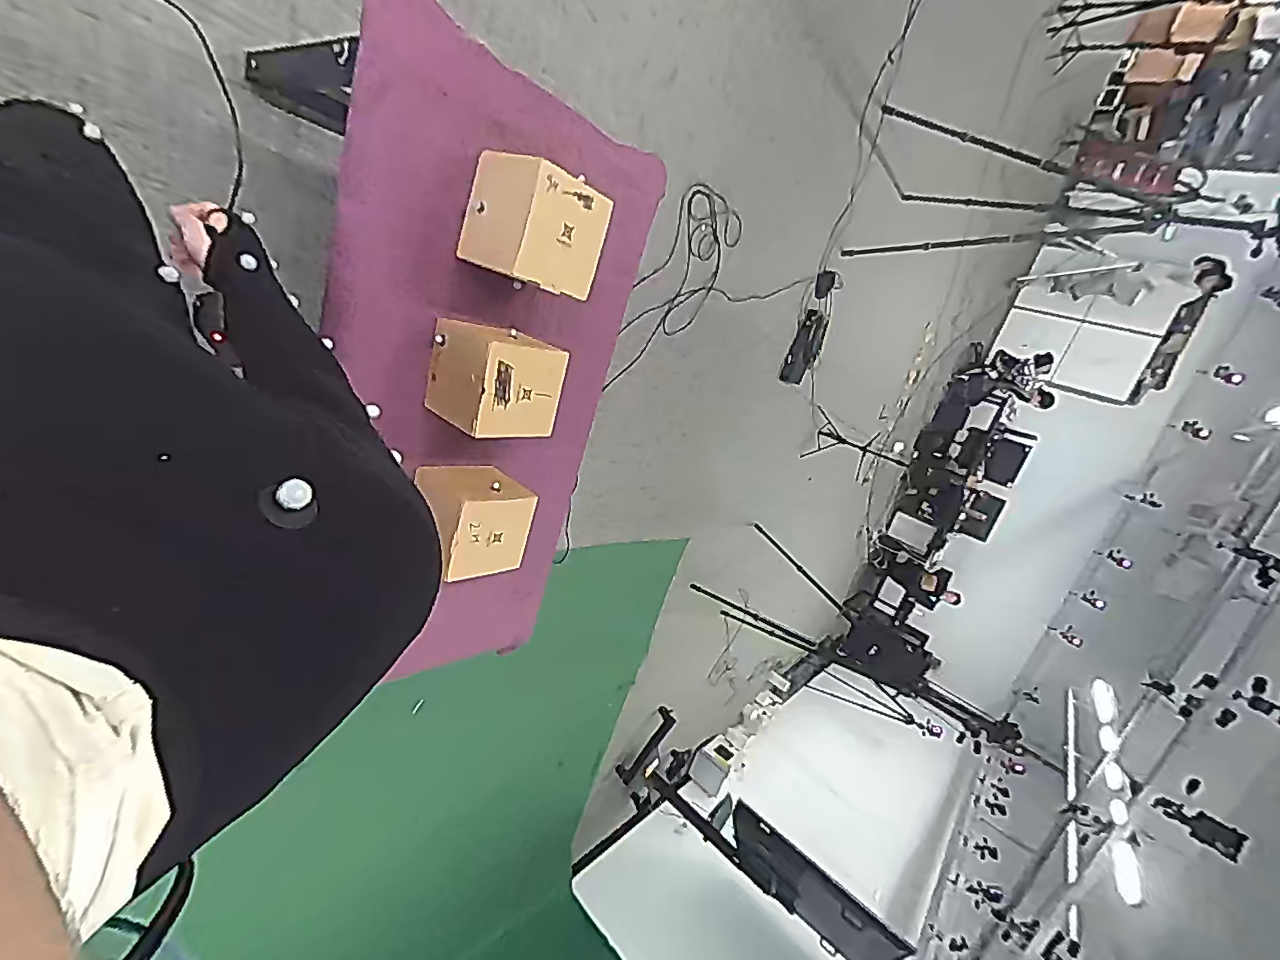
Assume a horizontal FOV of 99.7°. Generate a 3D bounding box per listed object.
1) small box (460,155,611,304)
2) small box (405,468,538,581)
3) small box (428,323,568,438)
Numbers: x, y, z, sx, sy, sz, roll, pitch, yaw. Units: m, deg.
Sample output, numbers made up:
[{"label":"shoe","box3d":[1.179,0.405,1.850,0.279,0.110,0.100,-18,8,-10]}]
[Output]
[{"label":"small box","box3d":[-0.185,-0.428,0.931,0.168,0.176,0.179,0,115,-53]},{"label":"small box","box3d":[-0.340,0.080,1.089,0.179,0.176,0.168,-3,115,-52]},{"label":"small box","box3d":[-0.266,-0.183,1.000,0.179,0.176,0.168,-8,120,-51]}]
